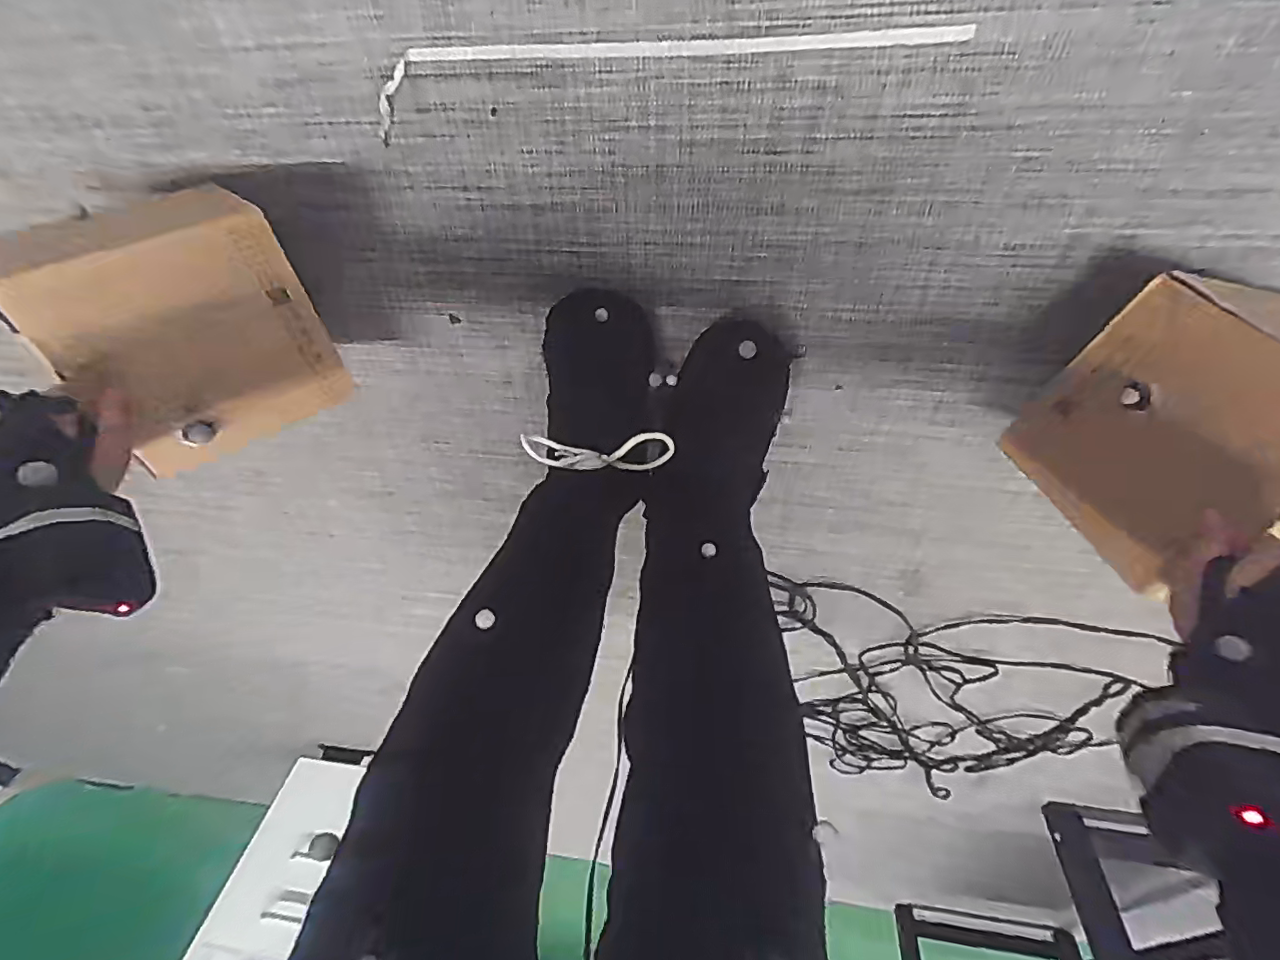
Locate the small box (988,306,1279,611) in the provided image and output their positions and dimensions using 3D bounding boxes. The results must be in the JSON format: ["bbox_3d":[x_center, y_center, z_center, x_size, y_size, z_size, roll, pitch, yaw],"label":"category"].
[{"bbox_3d":[0.434,-0.015,0.423,0.179,0.176,0.168,3,137,-19],"label":"small box"}]
